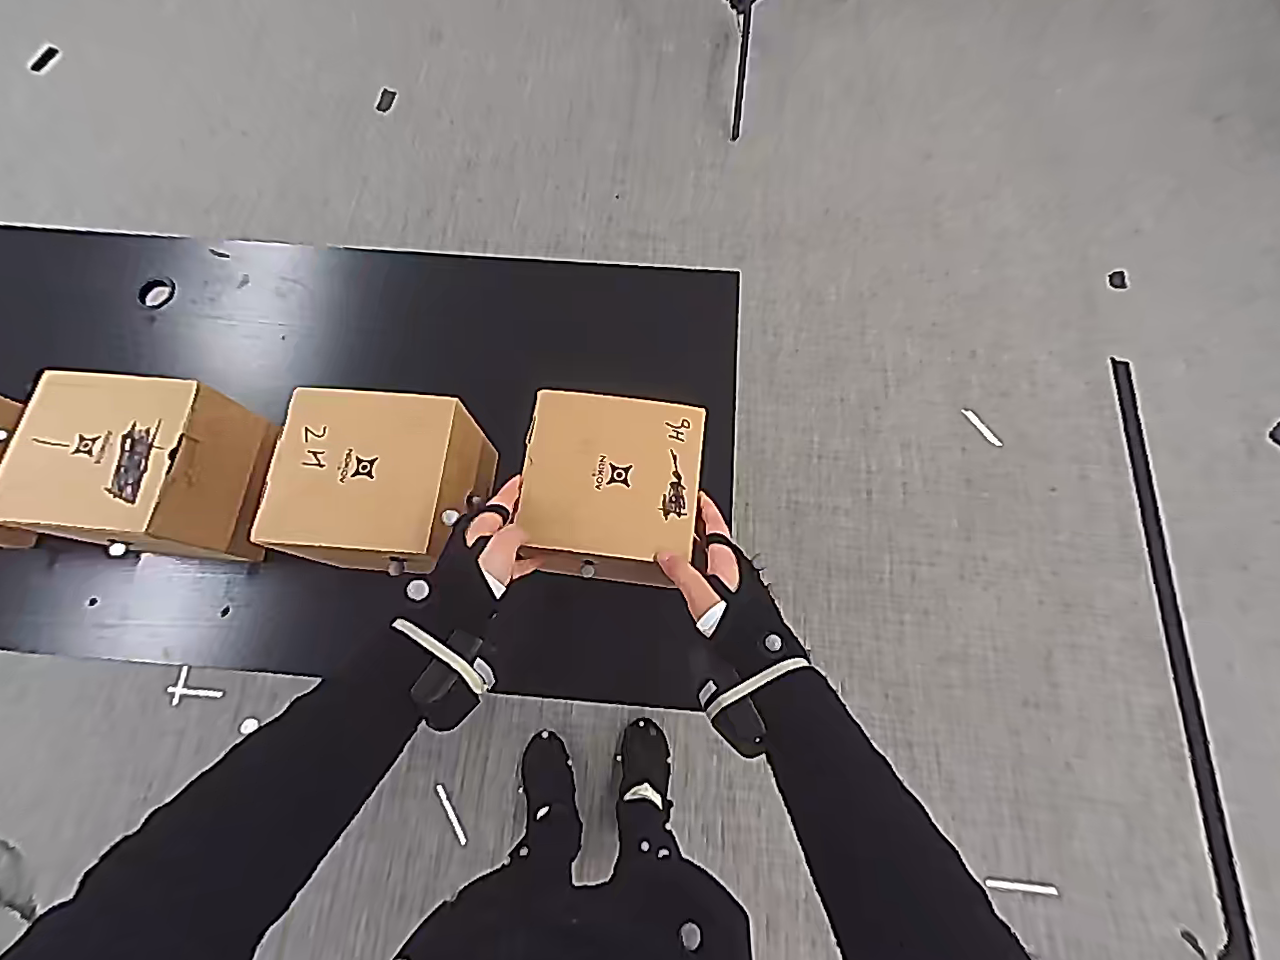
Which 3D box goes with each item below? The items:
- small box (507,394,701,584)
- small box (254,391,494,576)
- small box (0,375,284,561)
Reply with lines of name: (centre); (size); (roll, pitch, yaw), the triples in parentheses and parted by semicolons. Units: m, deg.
small box: (-0.031, 0.020, 0.611); (0.179, 0.176, 0.168); (6, 72, 3)
small box: (-0.279, 0.014, 0.616); (0.179, 0.176, 0.168); (3, 72, 2)
small box: (-0.548, -0.004, 0.626); (0.179, 0.176, 0.168); (5, 72, 3)
